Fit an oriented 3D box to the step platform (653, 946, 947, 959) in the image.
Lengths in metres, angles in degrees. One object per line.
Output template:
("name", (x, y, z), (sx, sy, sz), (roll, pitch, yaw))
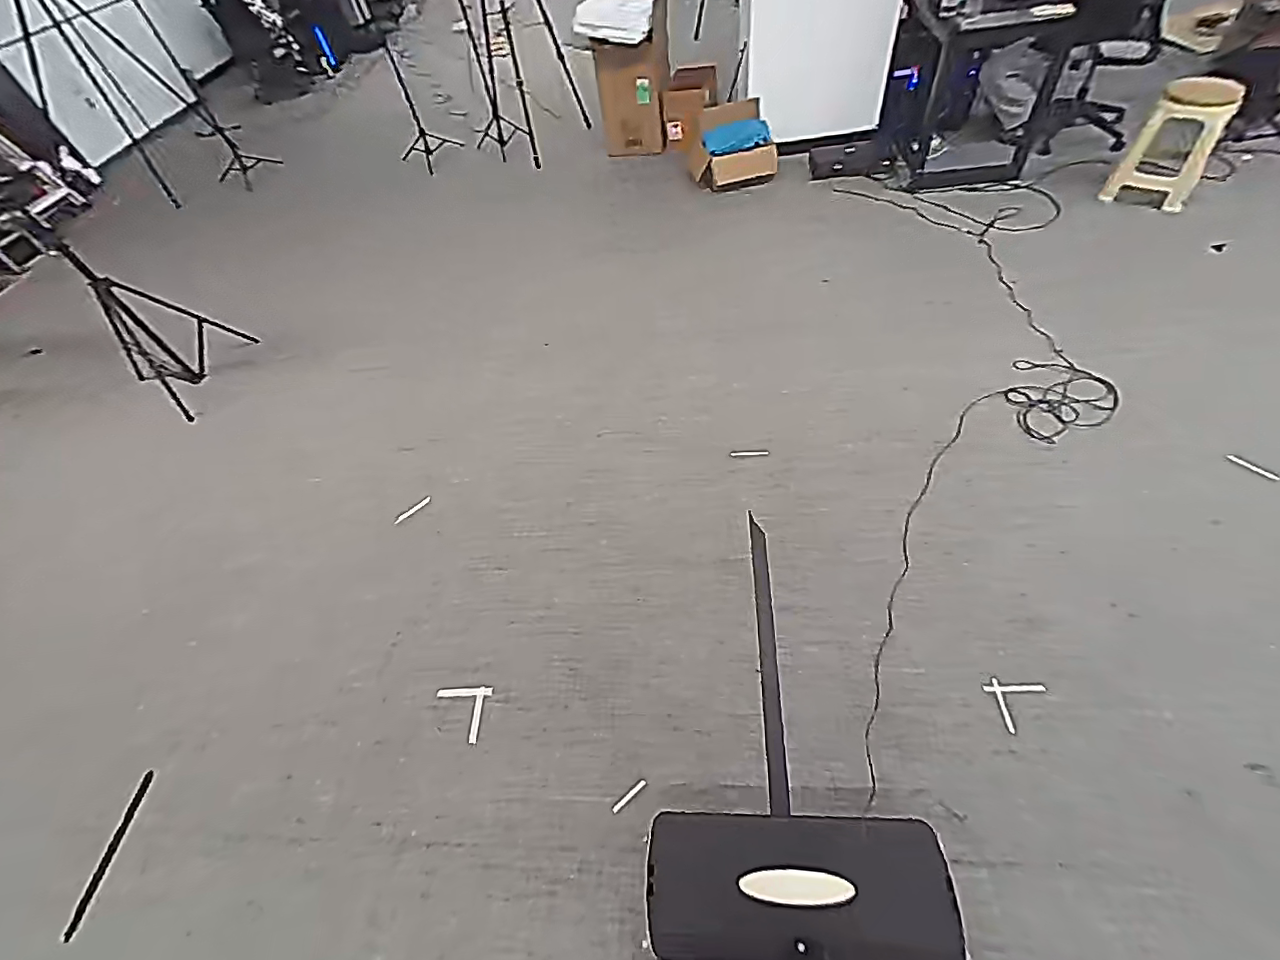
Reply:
("step platform", (0.347, 1.096, 1.033), (0.684, 0.204, 0.286), (-4, 51, 8))
